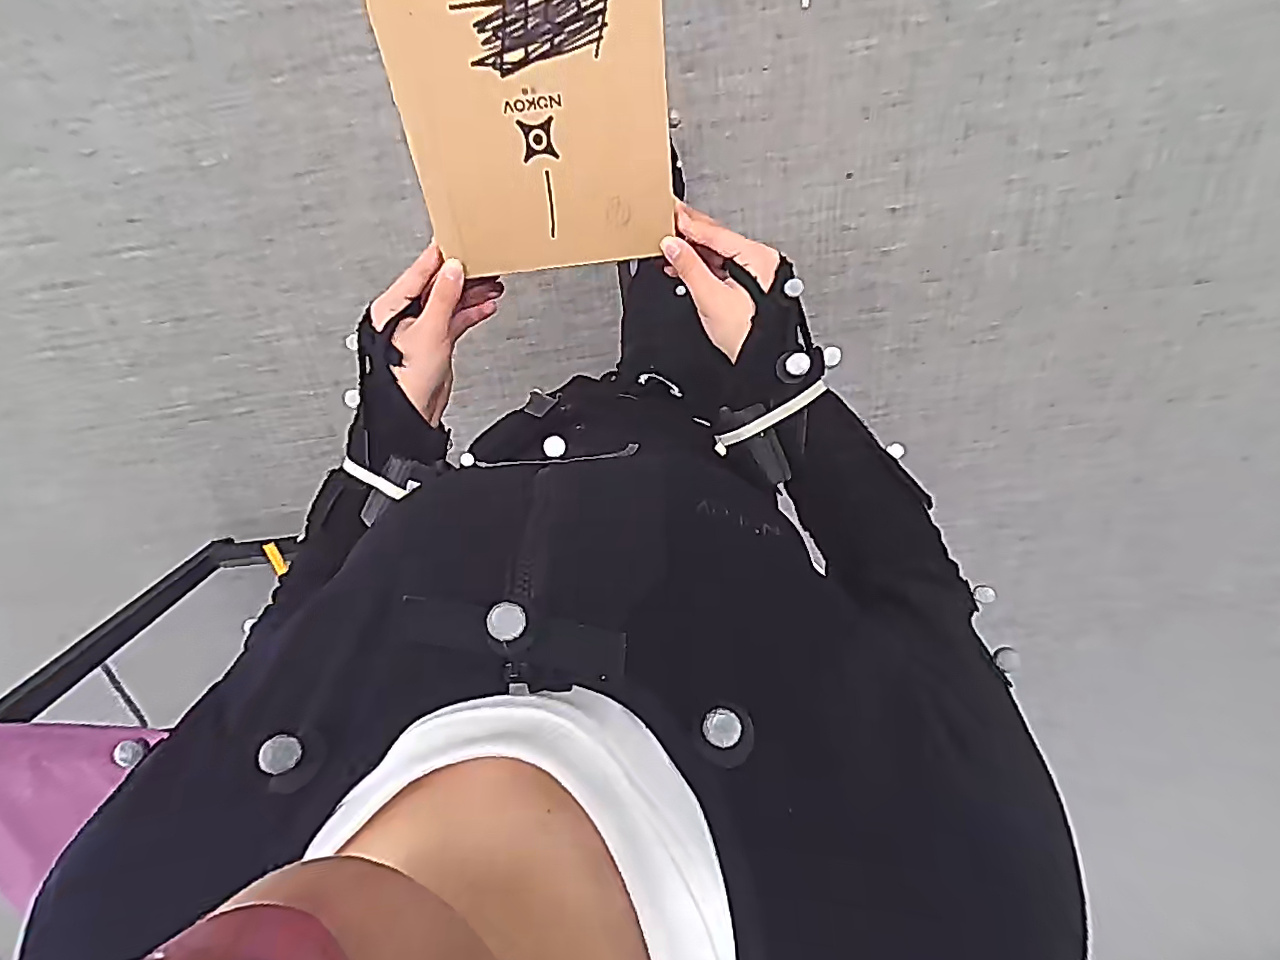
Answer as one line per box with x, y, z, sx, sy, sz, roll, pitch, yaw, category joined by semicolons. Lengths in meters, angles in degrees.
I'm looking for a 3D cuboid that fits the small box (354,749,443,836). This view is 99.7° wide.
-0.749;0.976;1.694;0.179;0.176;0.168;-10;116;4;small box

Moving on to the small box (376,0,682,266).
-0.064;-0.271;0.391;0.168;0.176;0.179;-6;125;1;small box
